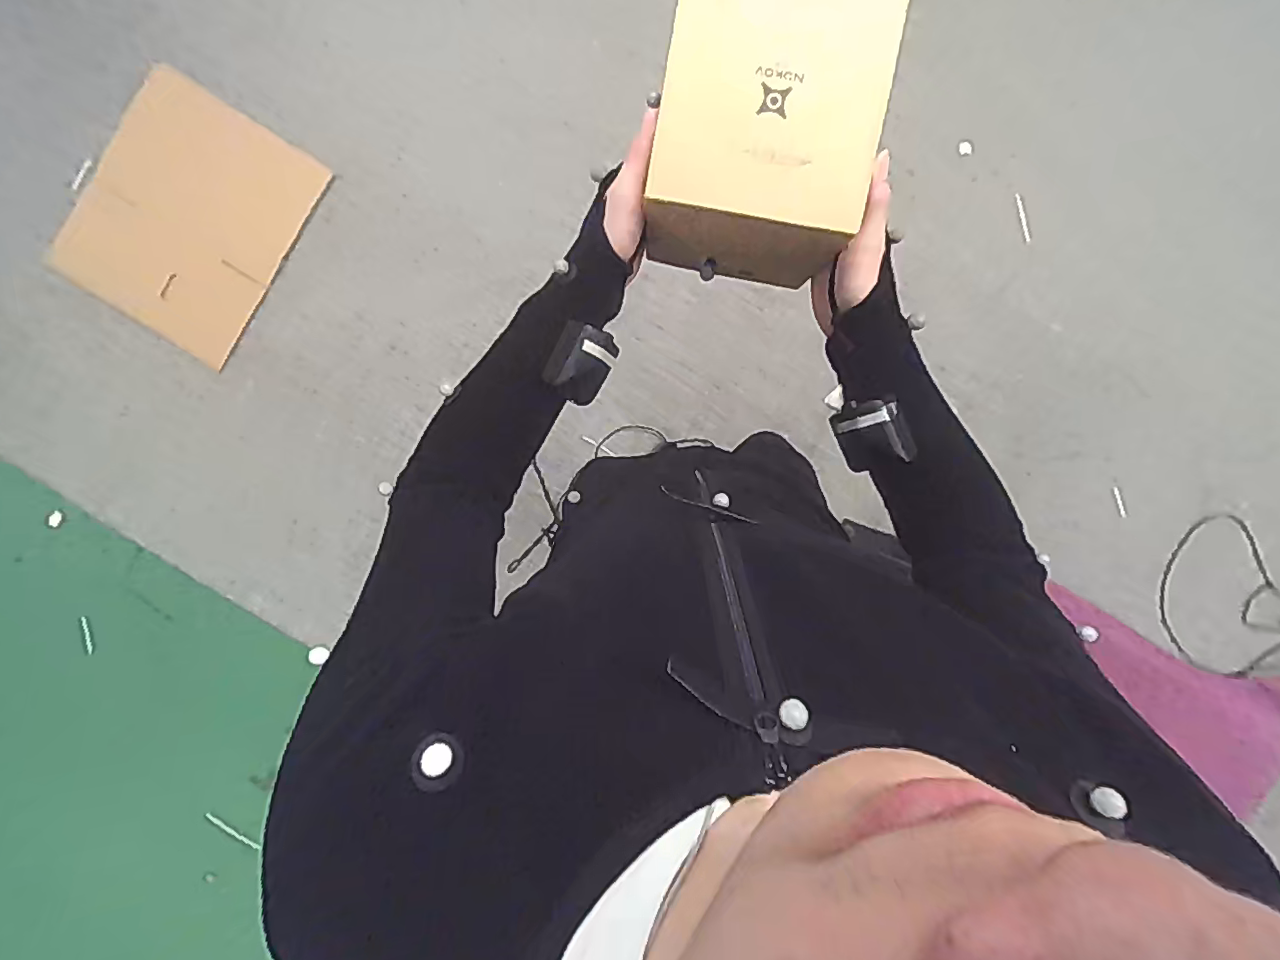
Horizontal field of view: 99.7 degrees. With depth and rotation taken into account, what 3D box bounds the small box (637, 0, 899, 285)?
[{"bbox_3d":[0.093,-0.290,0.471,0.168,0.176,0.179,10,96,1],"label":"small box"}]
